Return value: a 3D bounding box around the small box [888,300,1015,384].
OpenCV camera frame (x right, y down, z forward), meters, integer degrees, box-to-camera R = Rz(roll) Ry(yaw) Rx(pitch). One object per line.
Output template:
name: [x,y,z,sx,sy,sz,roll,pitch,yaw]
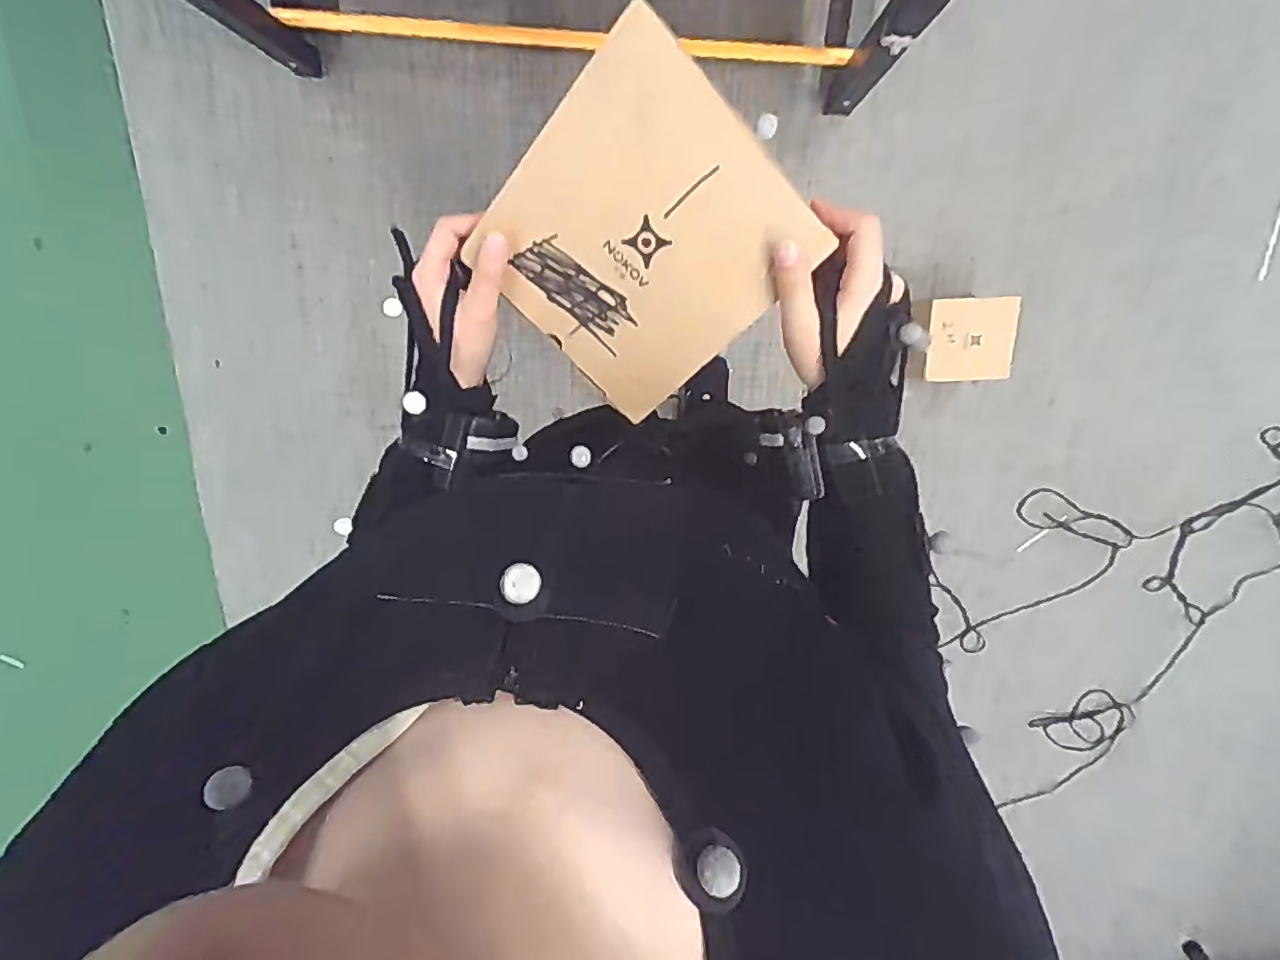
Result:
small box: [0.668,-0.303,1.179,0.179,0.176,0.168,-2,105,3]
